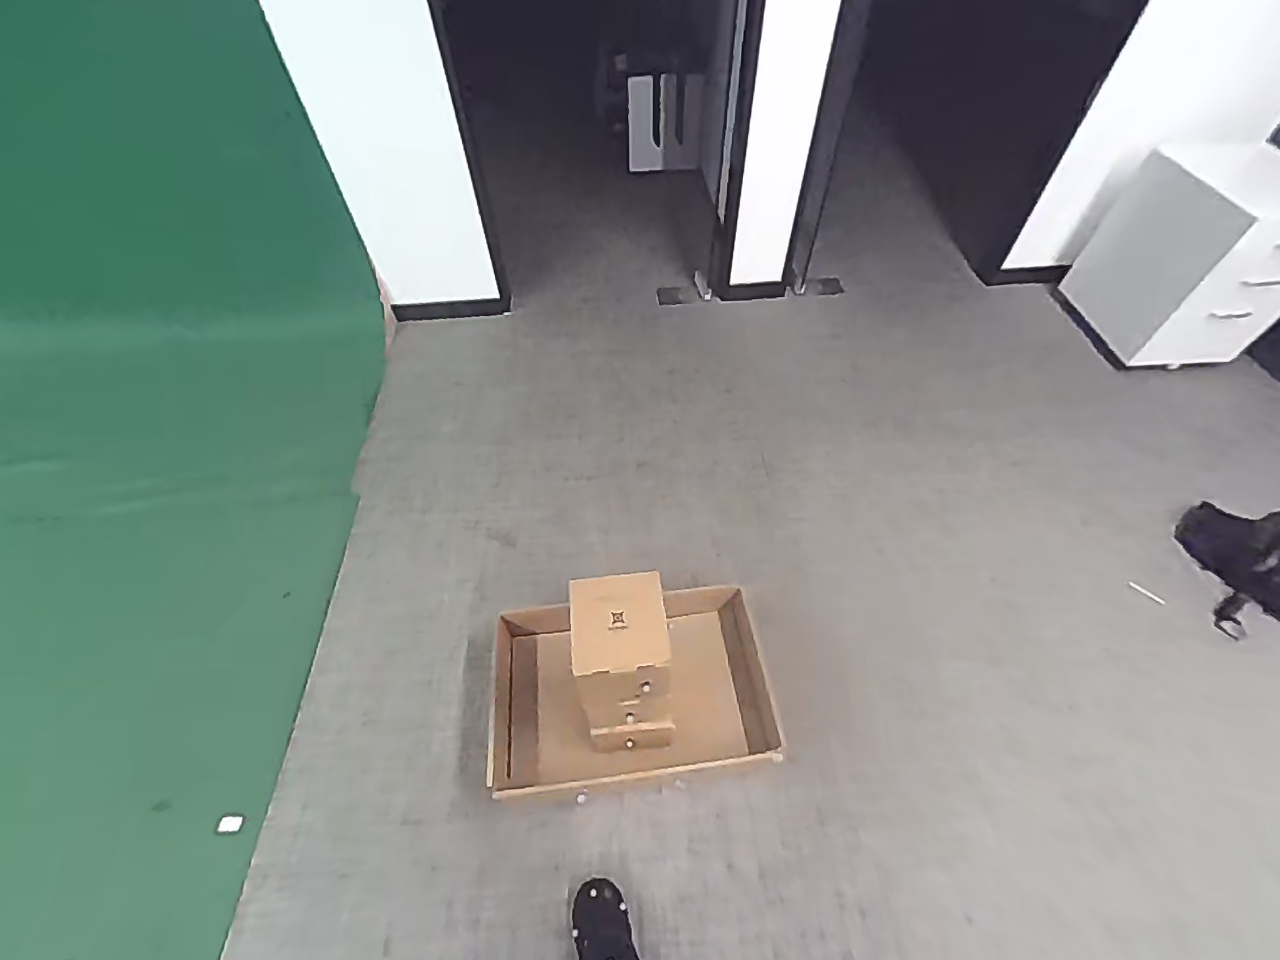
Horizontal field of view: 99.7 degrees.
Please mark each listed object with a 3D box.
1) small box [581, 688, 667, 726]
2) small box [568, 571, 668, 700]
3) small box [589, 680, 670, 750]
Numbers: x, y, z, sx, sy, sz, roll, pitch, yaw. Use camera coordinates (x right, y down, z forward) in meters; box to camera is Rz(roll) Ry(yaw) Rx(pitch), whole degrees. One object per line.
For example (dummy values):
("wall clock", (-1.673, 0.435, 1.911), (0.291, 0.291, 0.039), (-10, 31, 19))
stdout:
("small box", (-0.037, 0.404, 1.140), (0.168, 0.176, 0.179), (-8, 51, -4))
("small box", (-0.040, 0.292, 0.997), (0.168, 0.176, 0.179), (-5, 50, -4))
("small box", (-0.025, 0.516, 1.255), (0.179, 0.176, 0.168), (-4, 51, -1))
